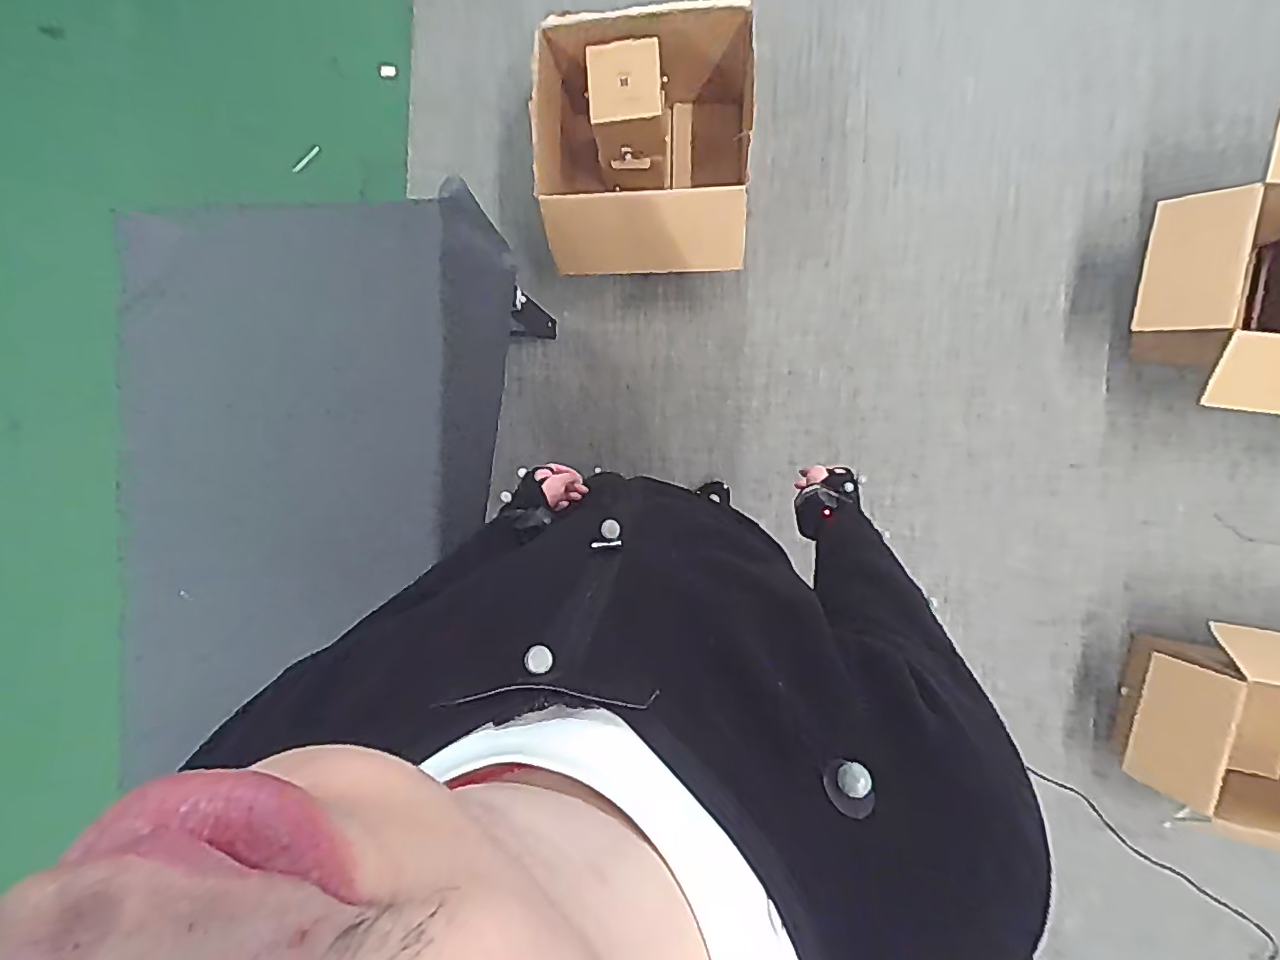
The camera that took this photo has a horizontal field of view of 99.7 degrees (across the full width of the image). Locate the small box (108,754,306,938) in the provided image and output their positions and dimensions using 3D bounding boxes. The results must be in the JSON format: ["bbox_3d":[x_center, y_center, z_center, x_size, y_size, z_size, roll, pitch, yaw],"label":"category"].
[{"bbox_3d":[-0.668,0.556,0.848,0.179,0.176,0.168,3,91,7],"label":"small box"}]

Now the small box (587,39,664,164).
[{"bbox_3d":[-0.029,-0.890,1.284,0.168,0.176,0.179,-4,92,5],"label":"small box"}]
